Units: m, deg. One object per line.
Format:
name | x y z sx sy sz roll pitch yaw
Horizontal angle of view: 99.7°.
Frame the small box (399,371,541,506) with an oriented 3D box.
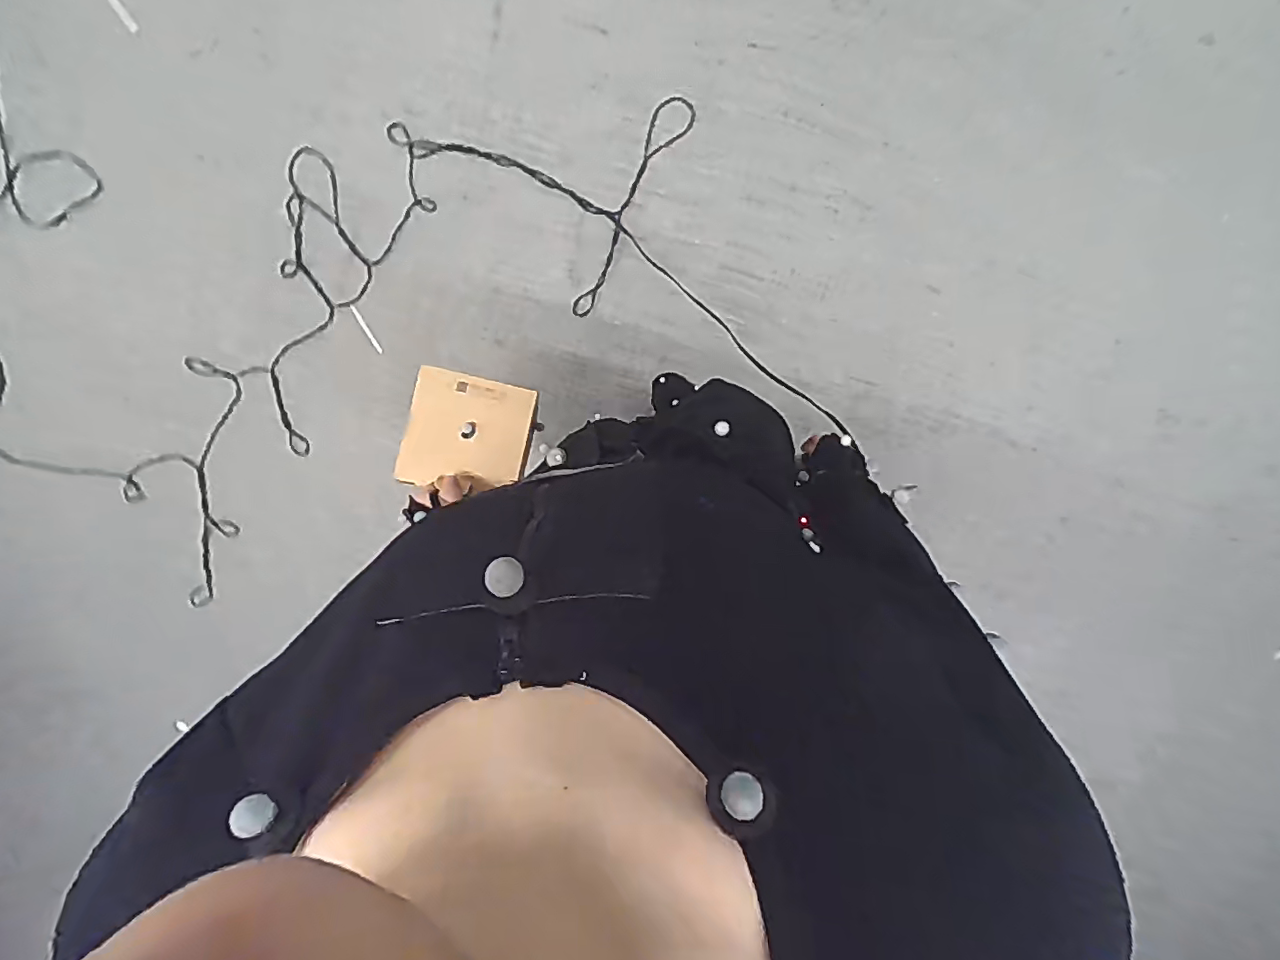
small box | -0.253 -0.059 0.840 0.168 0.179 0.176 13 84 -10
